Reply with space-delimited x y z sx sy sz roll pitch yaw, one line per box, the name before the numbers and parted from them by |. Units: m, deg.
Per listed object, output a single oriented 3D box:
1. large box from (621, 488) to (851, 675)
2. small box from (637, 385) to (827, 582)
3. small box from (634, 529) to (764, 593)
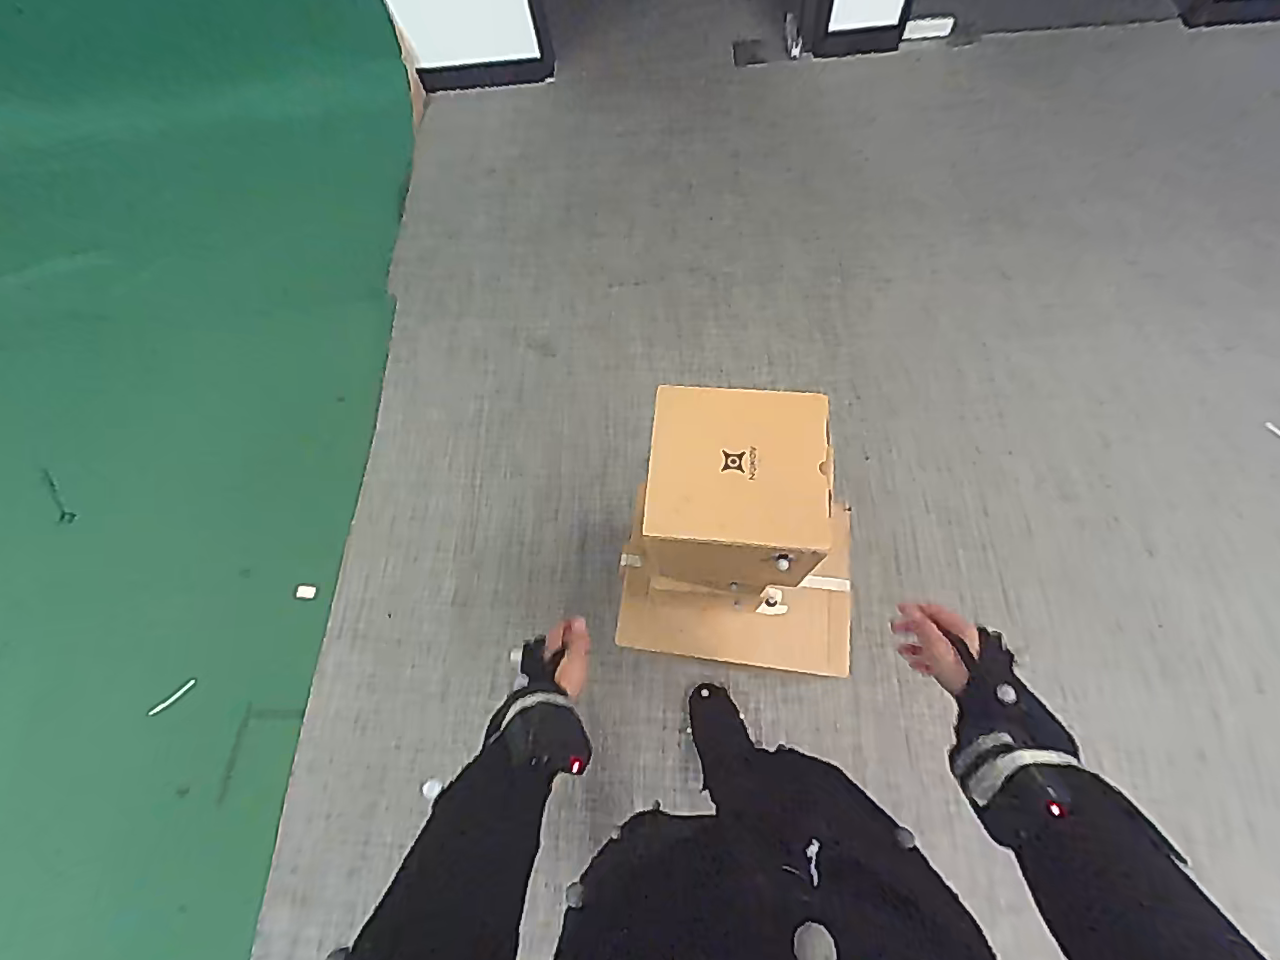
large box | 0.187 0.219 1.123 0.408 0.320 0.320 6 71 7
small box | 0.097 0.012 0.598 0.179 0.176 0.168 4 68 6
small box | 0.100 0.053 0.757 0.179 0.176 0.168 9 69 10
